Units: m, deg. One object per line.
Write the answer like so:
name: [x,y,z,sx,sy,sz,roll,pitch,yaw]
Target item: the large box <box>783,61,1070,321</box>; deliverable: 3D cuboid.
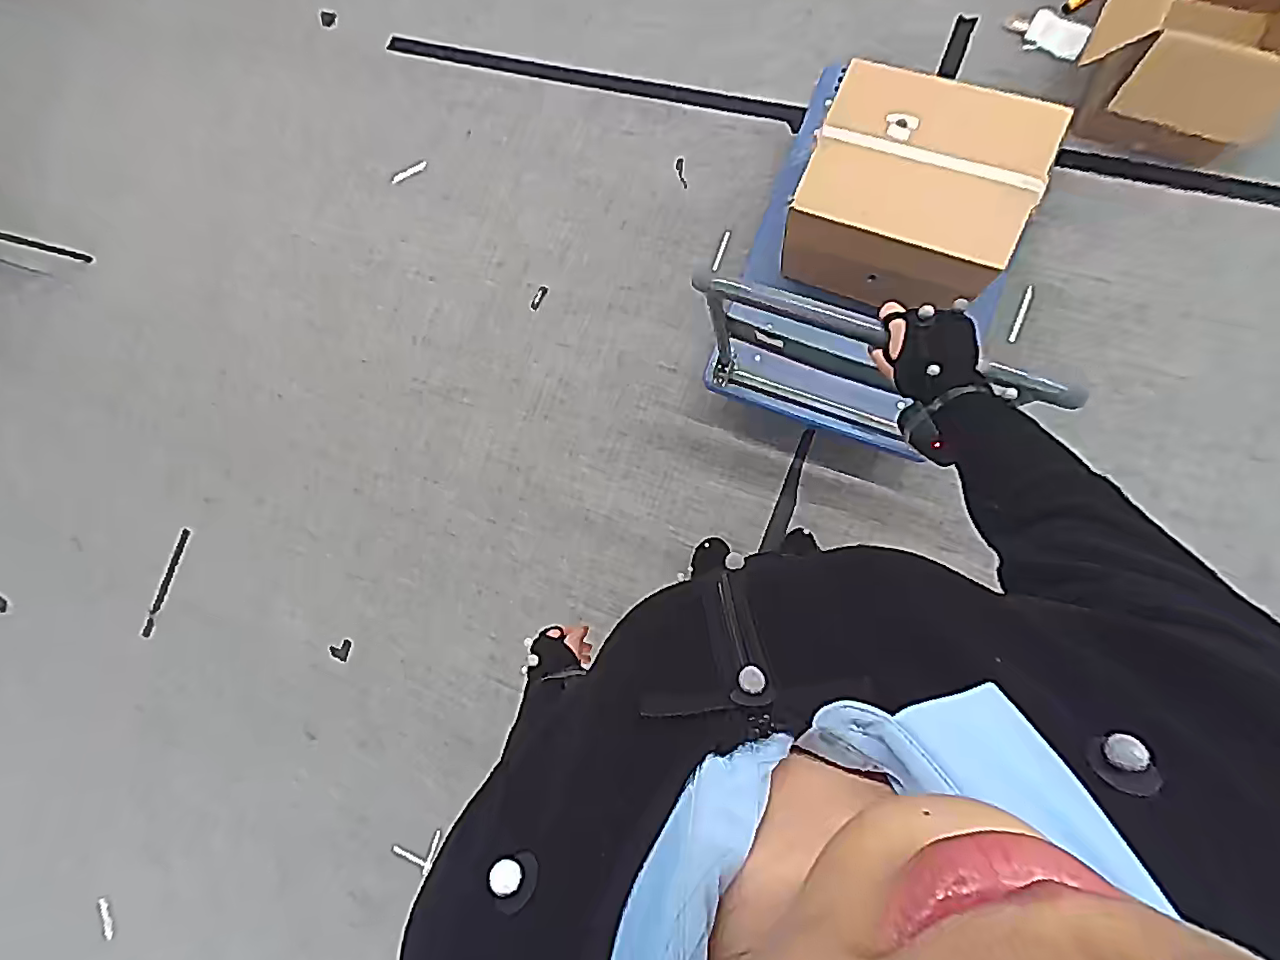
large box: [0.552,-0.580,1.135,0.408,0.320,0.320,23,90,13]
